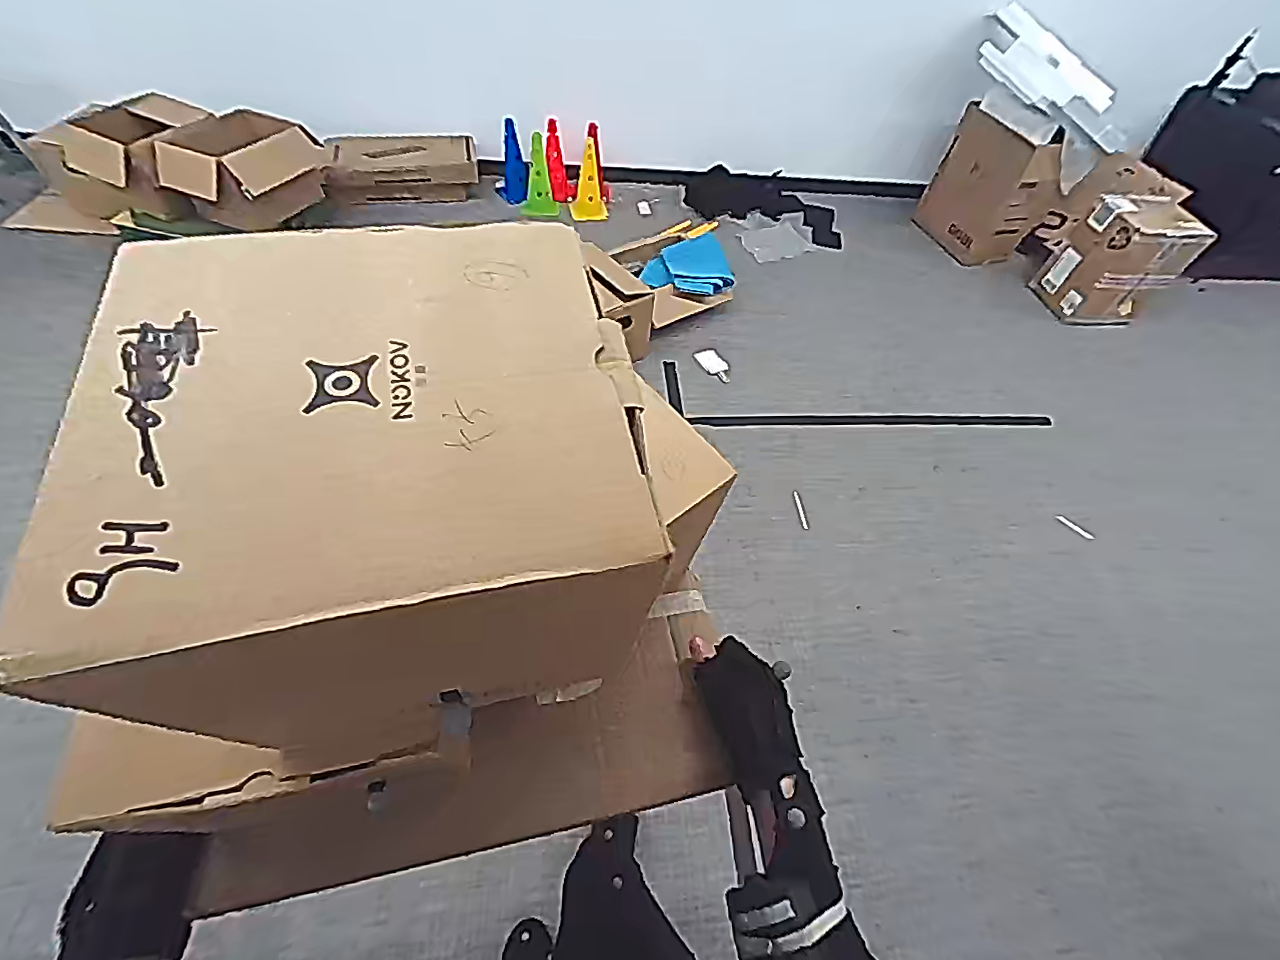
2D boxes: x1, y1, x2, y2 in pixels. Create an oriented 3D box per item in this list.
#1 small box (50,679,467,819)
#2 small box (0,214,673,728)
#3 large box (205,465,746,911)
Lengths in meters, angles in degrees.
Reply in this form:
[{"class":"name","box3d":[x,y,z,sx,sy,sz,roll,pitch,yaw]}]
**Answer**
[{"class":"small box","box3d":[-0.212,0.110,0.364,0.168,0.176,0.179,-5,58,-16]},{"class":"small box","box3d":[-0.102,0.003,0.255,0.179,0.176,0.168,-8,60,-14]},{"class":"large box","box3d":[-0.158,0.212,0.600,0.408,0.320,0.320,-6,60,-15]}]
